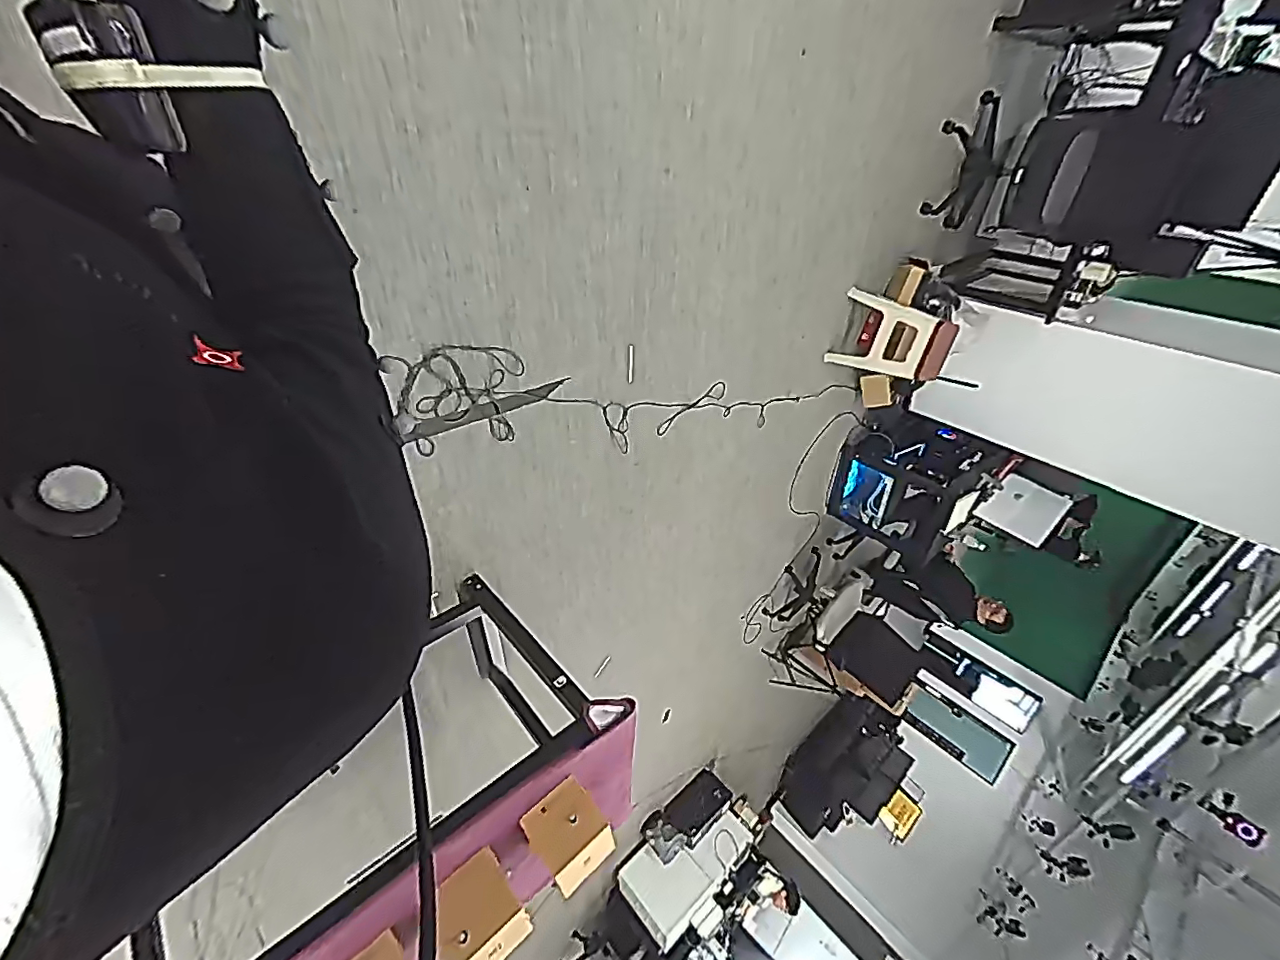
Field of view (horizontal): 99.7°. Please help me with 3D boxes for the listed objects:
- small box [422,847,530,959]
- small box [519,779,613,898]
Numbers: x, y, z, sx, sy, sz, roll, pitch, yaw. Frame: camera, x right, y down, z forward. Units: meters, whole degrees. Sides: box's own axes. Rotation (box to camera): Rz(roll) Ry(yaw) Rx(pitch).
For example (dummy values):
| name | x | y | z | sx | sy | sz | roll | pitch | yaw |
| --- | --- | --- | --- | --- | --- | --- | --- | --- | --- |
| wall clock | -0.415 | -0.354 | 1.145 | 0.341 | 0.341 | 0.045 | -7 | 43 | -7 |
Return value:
| name | x | y | z | sx | sy | sz | roll | pitch | yaw |
| --- | --- | --- | --- | --- | --- | --- | --- | --- | --- |
| small box | -0.381 | 1.008 | 1.247 | 0.179 | 0.176 | 0.168 | -29 | 136 | -31 |
| small box | -0.191 | 0.911 | 1.390 | 0.168 | 0.176 | 0.179 | -32 | 137 | -29 |
